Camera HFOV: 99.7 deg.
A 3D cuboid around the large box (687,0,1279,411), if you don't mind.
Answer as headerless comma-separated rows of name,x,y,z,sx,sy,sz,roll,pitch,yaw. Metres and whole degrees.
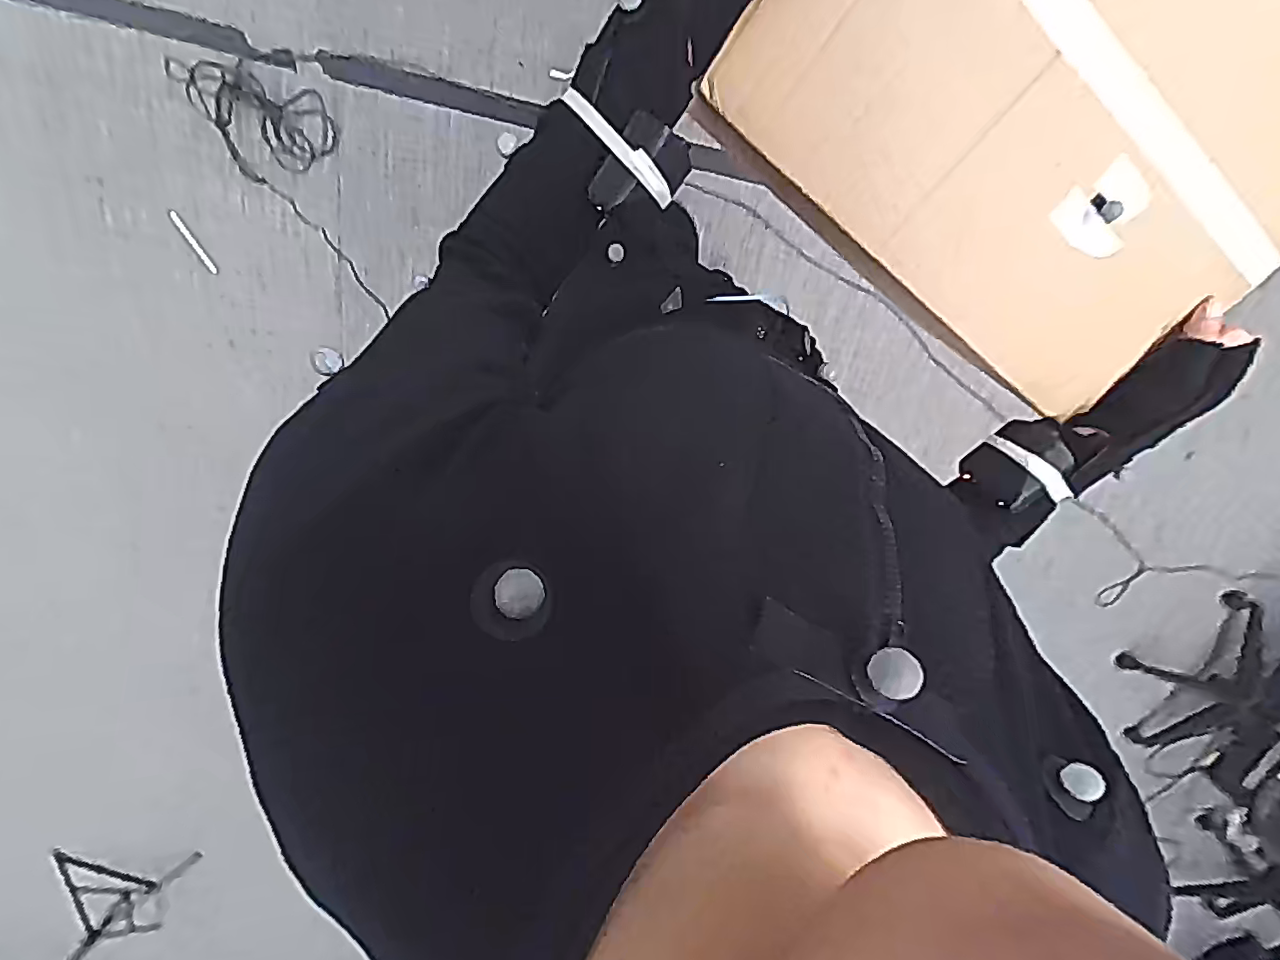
large box,0.294,-0.338,0.471,0.408,0.320,0.320,32,119,-18
